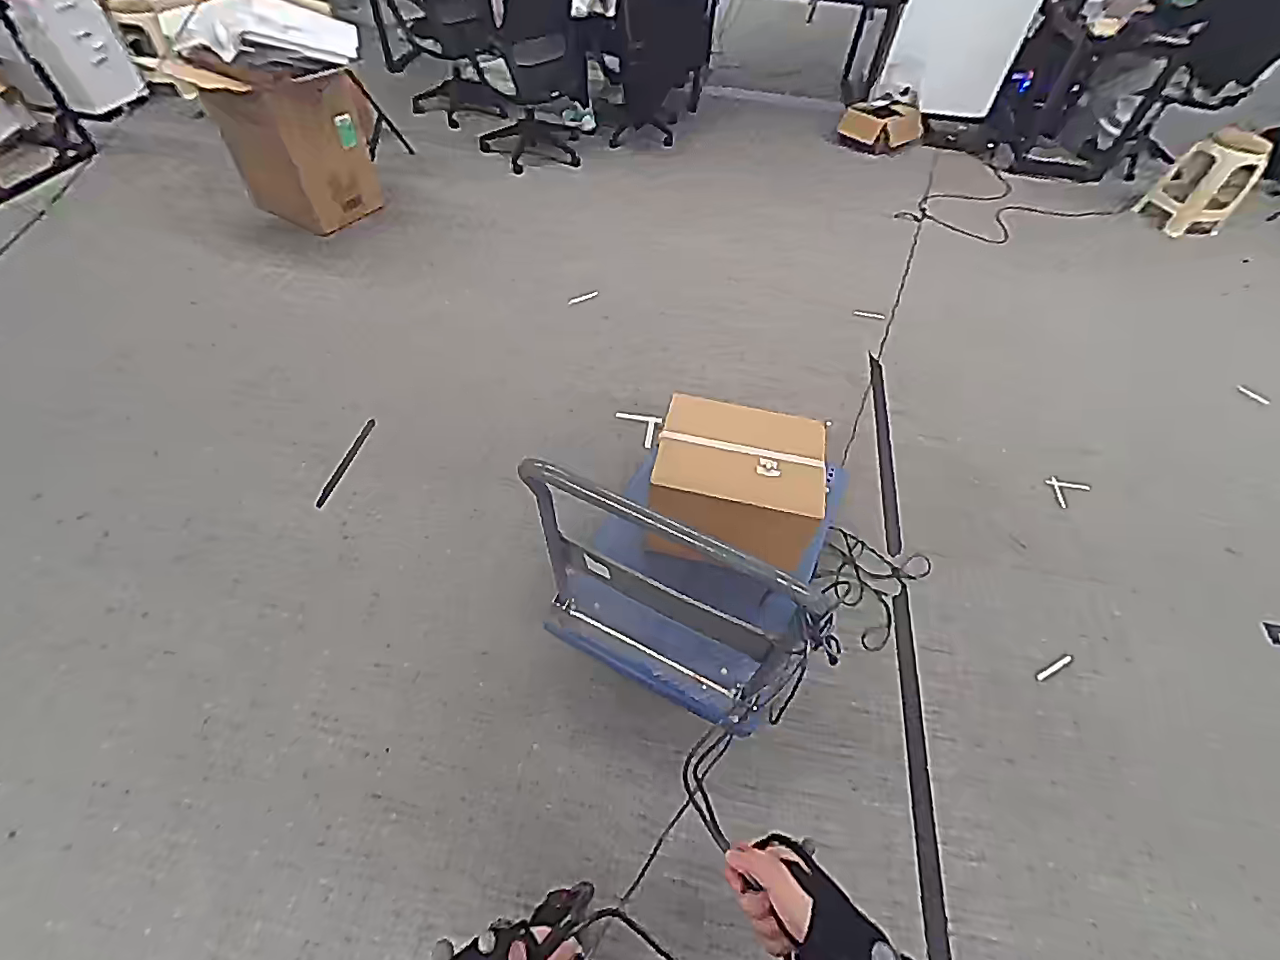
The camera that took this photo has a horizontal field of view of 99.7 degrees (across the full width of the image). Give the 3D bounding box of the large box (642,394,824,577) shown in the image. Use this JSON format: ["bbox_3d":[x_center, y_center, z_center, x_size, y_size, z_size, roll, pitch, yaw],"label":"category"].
[{"bbox_3d":[0.235,0.019,1.429,0.408,0.320,0.320,12,54,5],"label":"large box"}]
